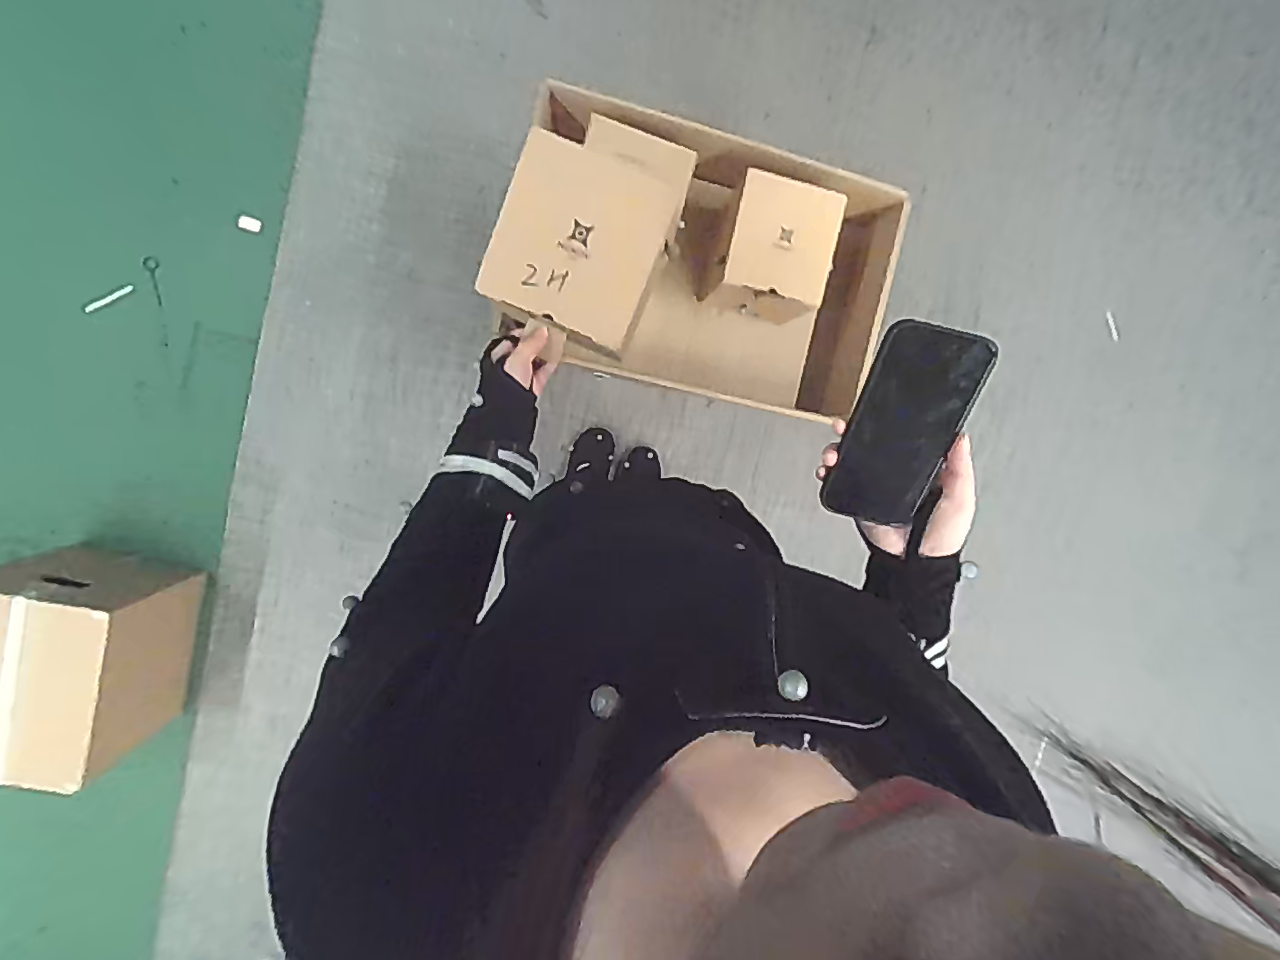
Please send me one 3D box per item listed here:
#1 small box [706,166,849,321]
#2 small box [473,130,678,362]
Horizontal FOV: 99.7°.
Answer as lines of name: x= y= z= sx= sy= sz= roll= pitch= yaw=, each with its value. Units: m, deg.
small box: x=0.220 y=-0.386 z=0.915 sx=0.168 sy=0.176 sz=0.179 roll=12 pitch=96 yaw=-7
small box: x=-0.069 y=-0.254 z=0.636 sx=0.168 sy=0.176 sz=0.179 roll=23 pitch=97 yaw=-3
